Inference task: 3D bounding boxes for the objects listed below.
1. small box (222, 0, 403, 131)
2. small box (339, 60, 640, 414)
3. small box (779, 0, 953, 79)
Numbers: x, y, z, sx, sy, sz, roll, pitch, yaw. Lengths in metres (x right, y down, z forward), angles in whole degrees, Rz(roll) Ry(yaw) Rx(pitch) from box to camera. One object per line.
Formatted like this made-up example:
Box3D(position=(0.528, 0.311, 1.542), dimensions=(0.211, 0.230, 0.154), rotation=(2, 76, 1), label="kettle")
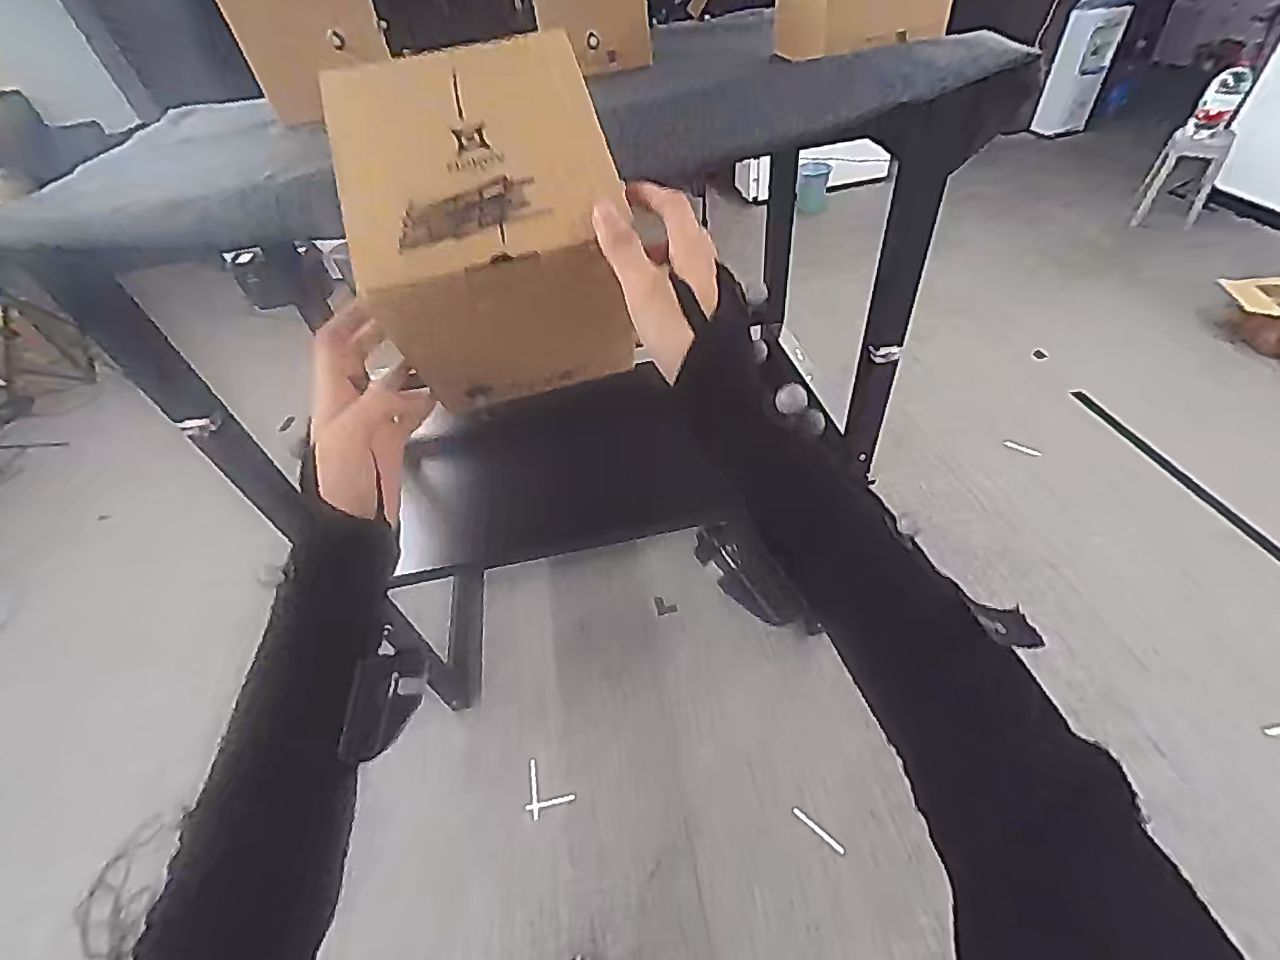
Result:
Box3D(position=(-0.486, -0.665, 0.835), dimensions=(0.179, 0.176, 0.168), rotation=(-13, 46, -5), label="small box")
Box3D(position=(-0.100, -0.166, 0.417), dimensions=(0.168, 0.176, 0.179), rotation=(-15, 74, -7), label="small box")
Box3D(position=(0.288, -0.642, 0.701), dimensions=(0.168, 0.176, 0.179), rotation=(-12, 45, -2), label="small box")
